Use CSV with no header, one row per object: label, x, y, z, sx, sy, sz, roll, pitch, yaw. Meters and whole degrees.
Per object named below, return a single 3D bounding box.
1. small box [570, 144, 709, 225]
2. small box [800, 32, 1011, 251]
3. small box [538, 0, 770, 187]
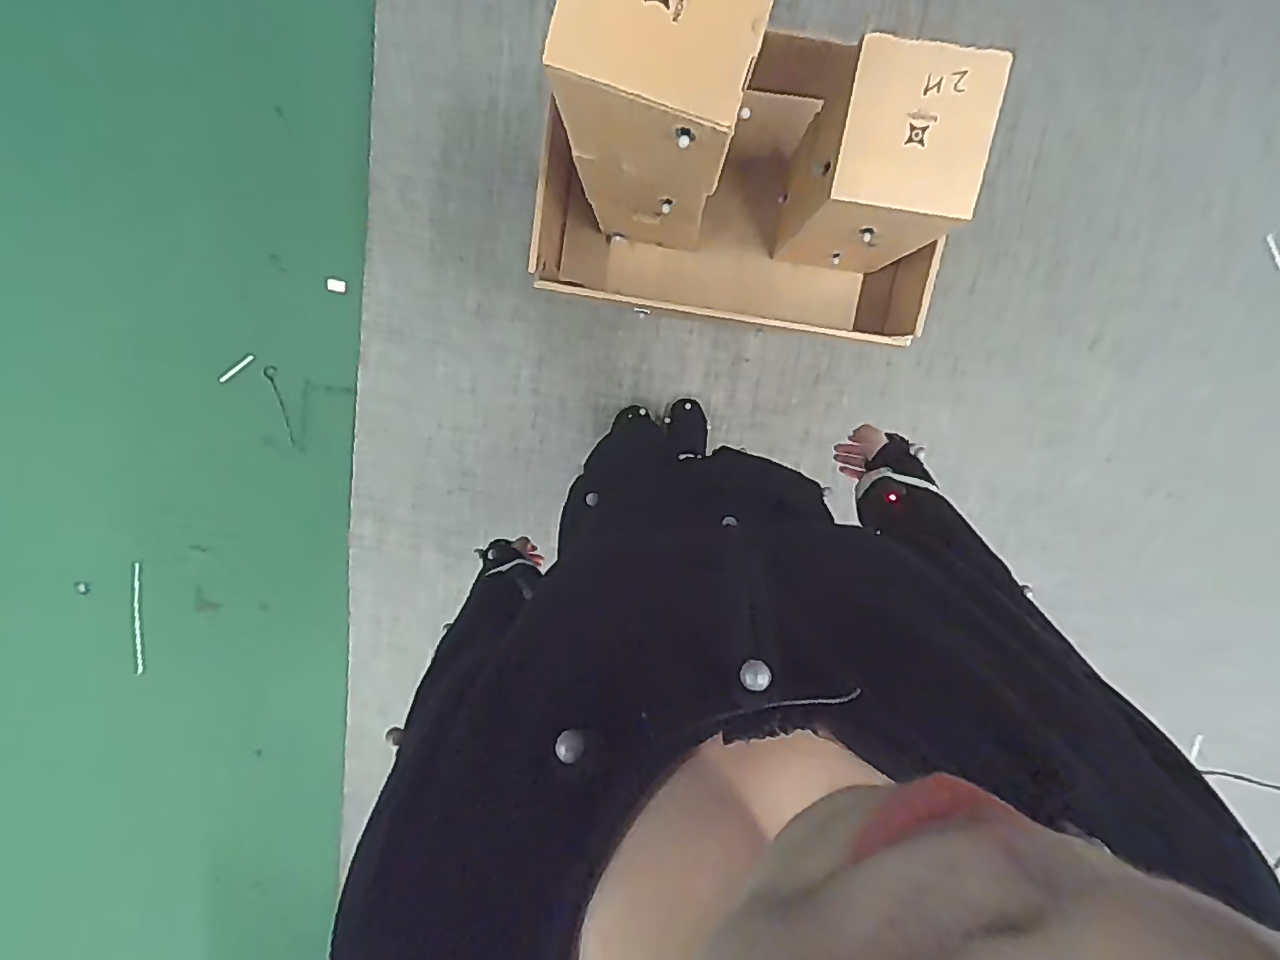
small box,0.021,-0.452,0.691,0.168,0.176,0.179,15,99,-1
small box,0.313,-0.404,0.681,0.168,0.176,0.179,10,100,1
small box,0.019,-0.419,0.532,0.179,0.176,0.168,17,100,-3
